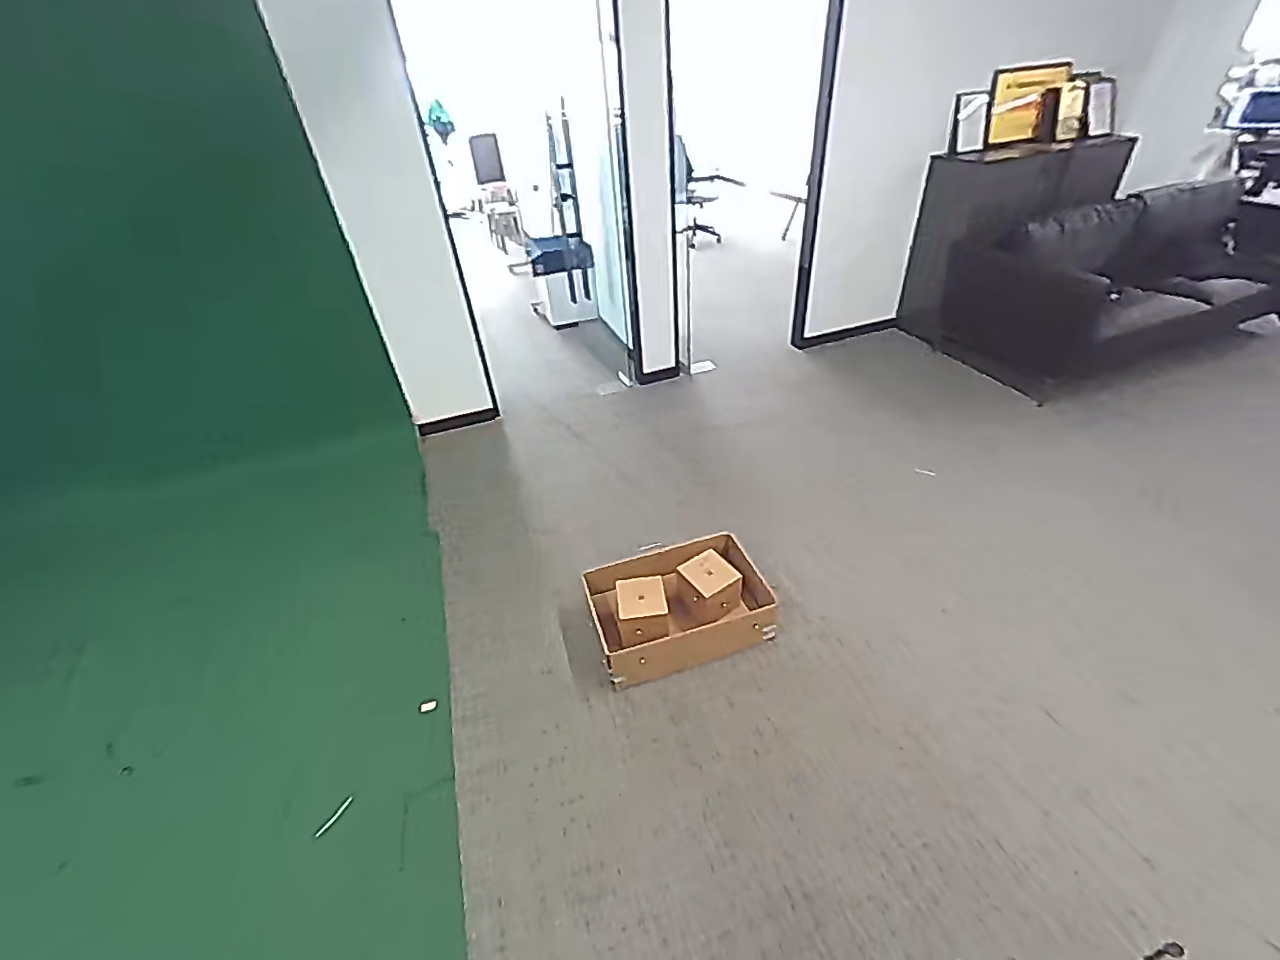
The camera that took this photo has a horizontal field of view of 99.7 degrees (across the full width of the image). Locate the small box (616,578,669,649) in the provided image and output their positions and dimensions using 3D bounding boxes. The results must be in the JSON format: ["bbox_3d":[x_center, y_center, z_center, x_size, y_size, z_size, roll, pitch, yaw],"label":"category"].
[{"bbox_3d":[0.010,0.475,1.898,0.168,0.176,0.179,-7,36,-4],"label":"small box"}]

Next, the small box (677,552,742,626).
[{"bbox_3d":[0.253,0.403,1.966,0.168,0.176,0.179,-24,41,-24],"label":"small box"}]
